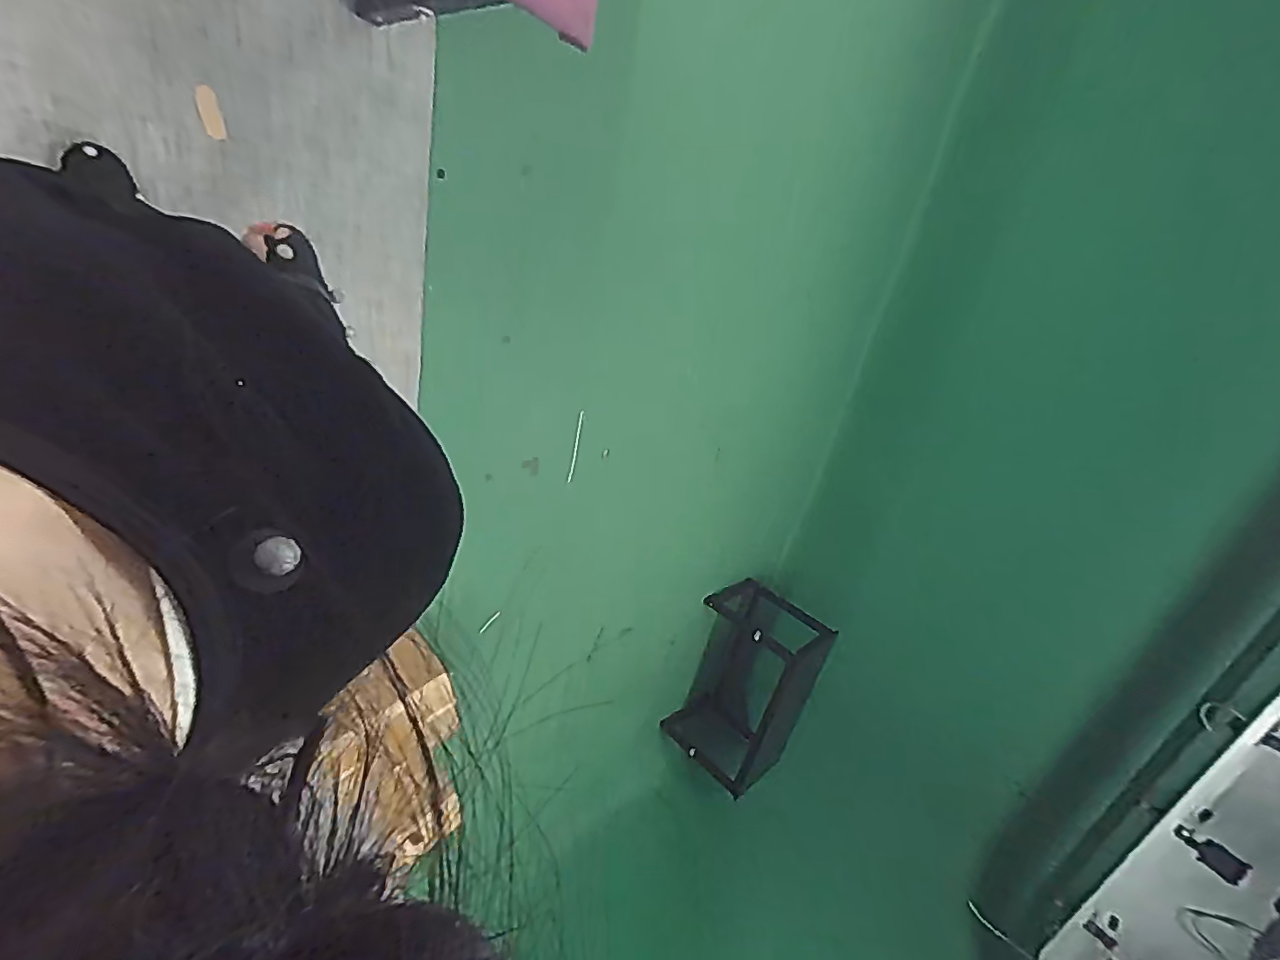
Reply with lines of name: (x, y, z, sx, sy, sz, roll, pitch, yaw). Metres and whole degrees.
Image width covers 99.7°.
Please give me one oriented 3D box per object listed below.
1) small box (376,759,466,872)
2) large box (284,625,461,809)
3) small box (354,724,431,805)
small box: (-0.625, 0.946, 1.536, 0.179, 0.176, 0.168, -28, 133, -36)
large box: (-0.879, 0.772, 1.810, 0.408, 0.320, 0.320, -28, 135, -37)
small box: (-0.738, 0.876, 1.634, 0.168, 0.176, 0.179, -26, 132, -37)
